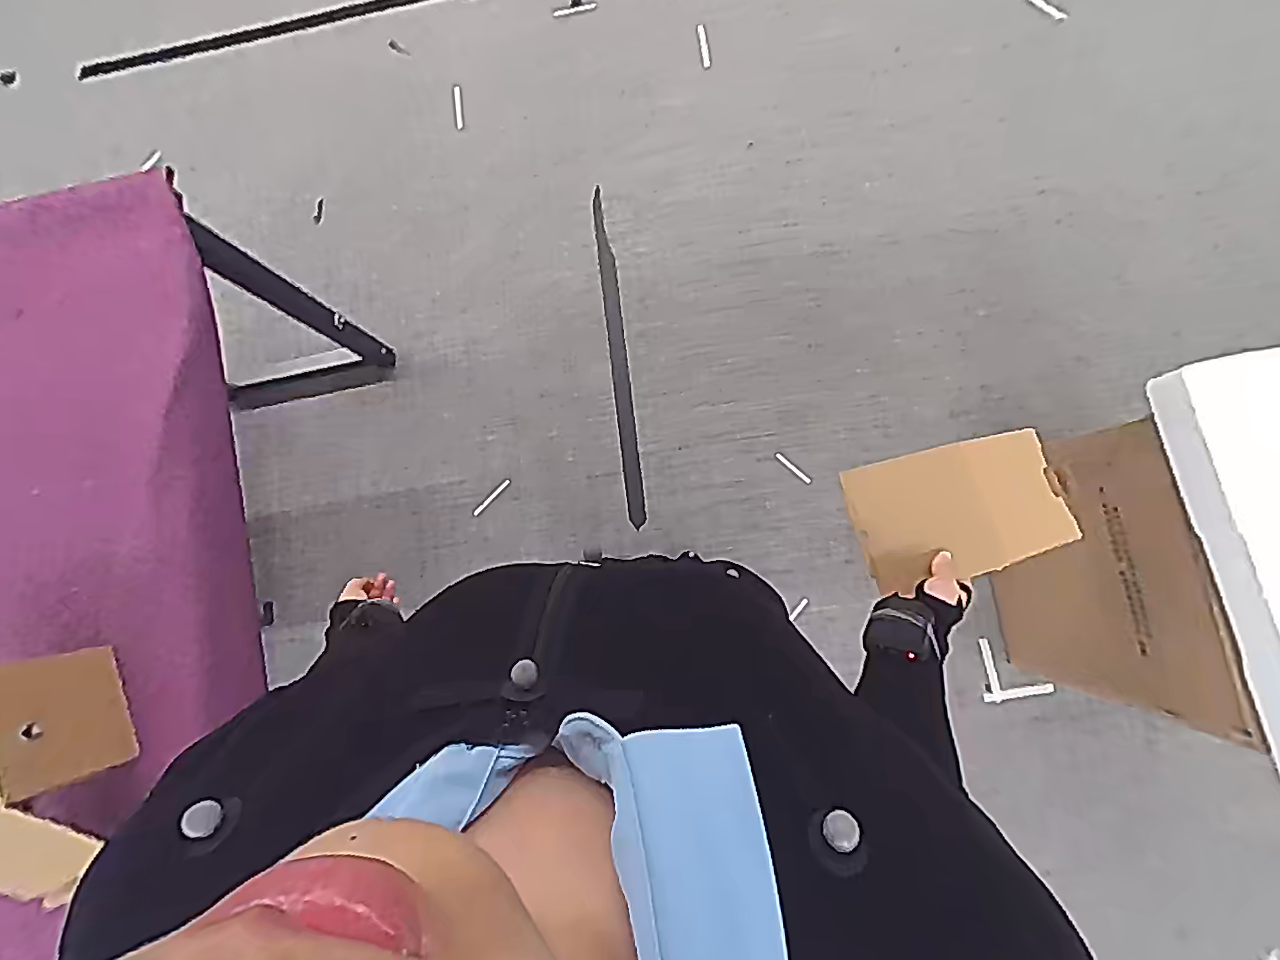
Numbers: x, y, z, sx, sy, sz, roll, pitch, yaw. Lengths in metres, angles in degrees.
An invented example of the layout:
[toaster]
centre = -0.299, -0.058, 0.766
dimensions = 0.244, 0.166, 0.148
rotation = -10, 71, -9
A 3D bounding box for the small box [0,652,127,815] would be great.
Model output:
[small box]
centre = -0.859, 0.356, 0.734
dimensions = 0.168, 0.176, 0.179
rotation = -24, 80, 1
